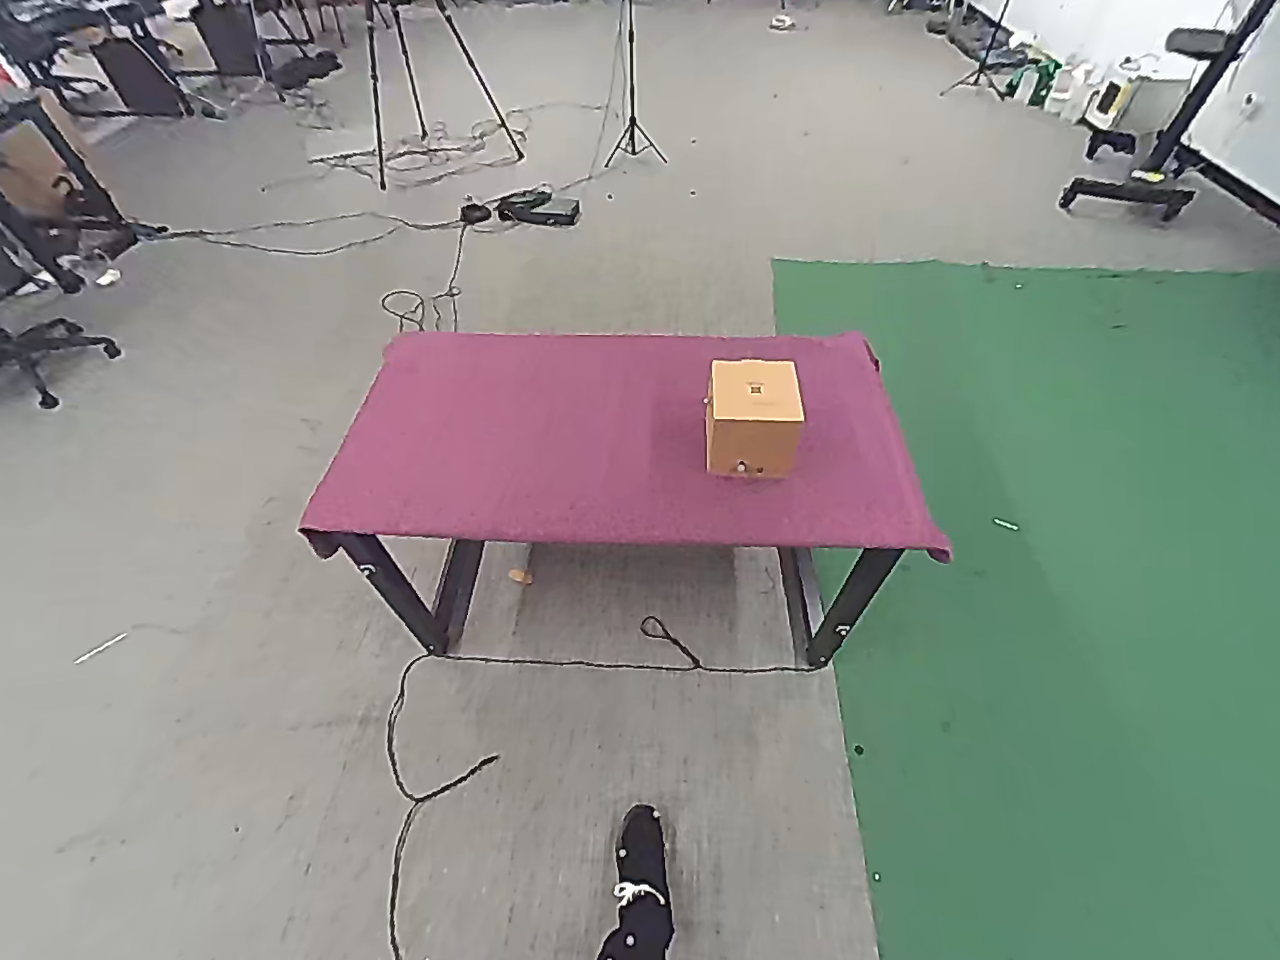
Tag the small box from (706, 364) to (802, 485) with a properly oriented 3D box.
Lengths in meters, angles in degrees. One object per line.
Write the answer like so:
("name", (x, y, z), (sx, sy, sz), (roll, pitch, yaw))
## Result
("small box", (0.222, -0.113, 1.095), (0.168, 0.176, 0.179), (2, 50, 5))
